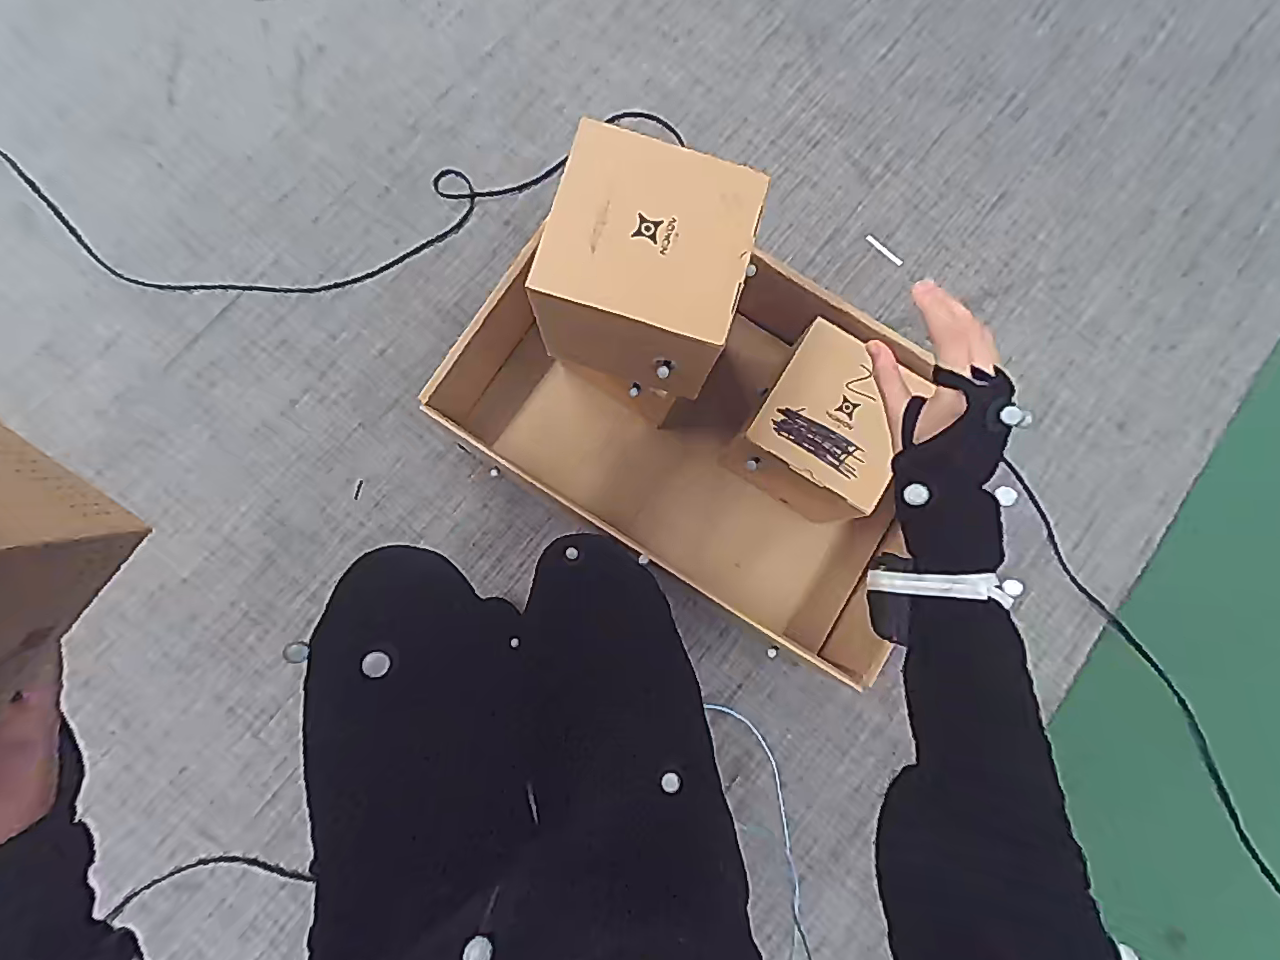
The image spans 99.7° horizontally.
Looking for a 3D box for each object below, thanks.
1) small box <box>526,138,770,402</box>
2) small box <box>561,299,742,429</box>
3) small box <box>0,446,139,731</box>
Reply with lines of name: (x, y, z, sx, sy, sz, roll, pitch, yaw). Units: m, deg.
small box: (0.006, -0.189, 0.543, 0.179, 0.176, 0.168, 17, 83, 0)
small box: (0.000, -0.186, 0.706, 0.179, 0.176, 0.168, 34, 82, 1)
small box: (-0.348, 0.046, 0.176, 0.179, 0.176, 0.168, 39, 87, -7)
